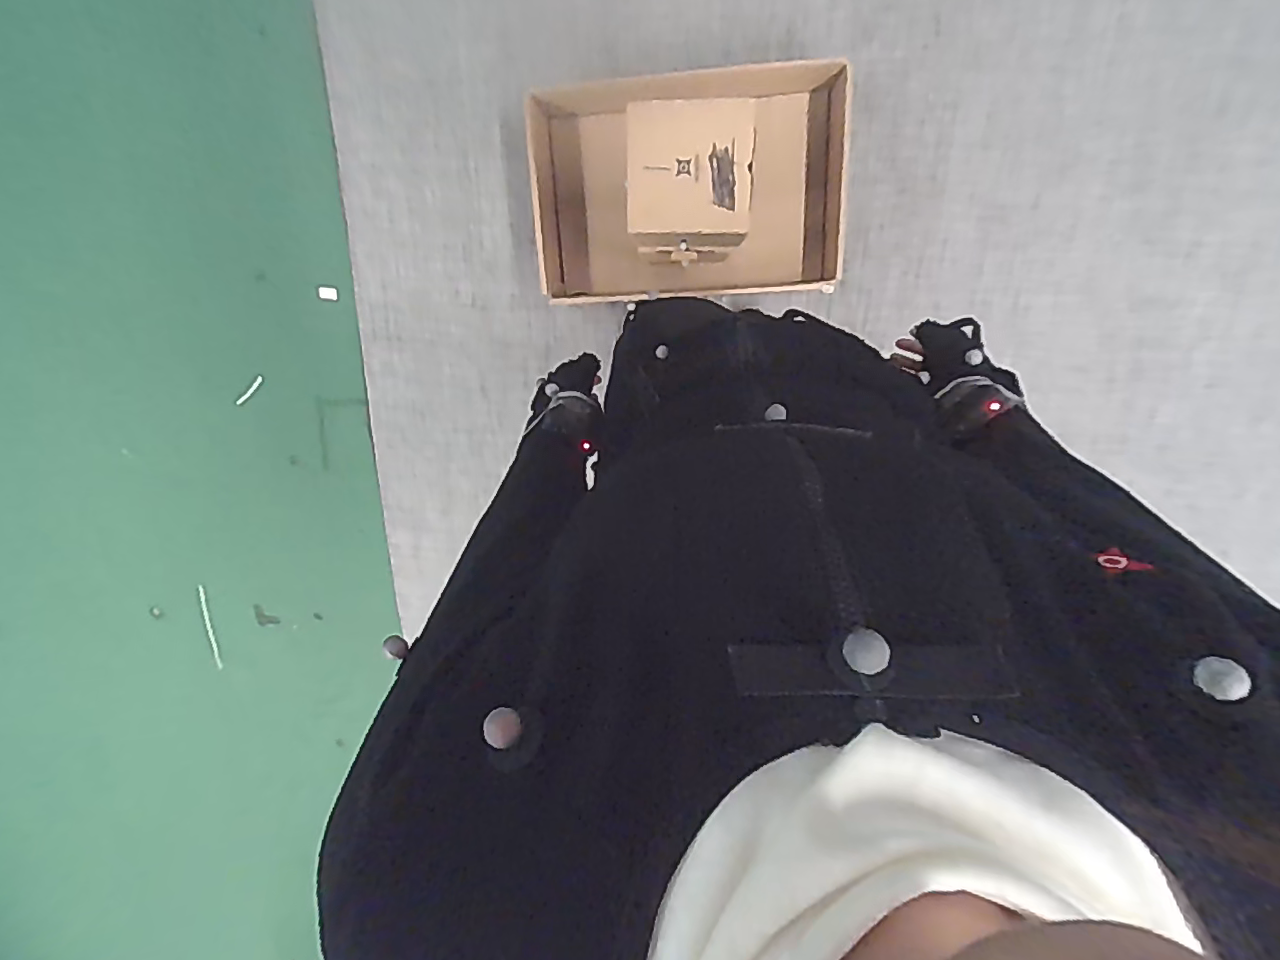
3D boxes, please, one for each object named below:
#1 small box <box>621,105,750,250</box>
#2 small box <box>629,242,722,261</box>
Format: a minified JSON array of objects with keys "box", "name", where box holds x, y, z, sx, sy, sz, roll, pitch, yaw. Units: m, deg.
[{"box":[0.067,-0.457,0.839,0.179,0.176,0.168,3,106,4],"name":"small box"},{"box":[0.071,-0.497,0.982,0.168,0.176,0.179,2,108,4],"name":"small box"}]
